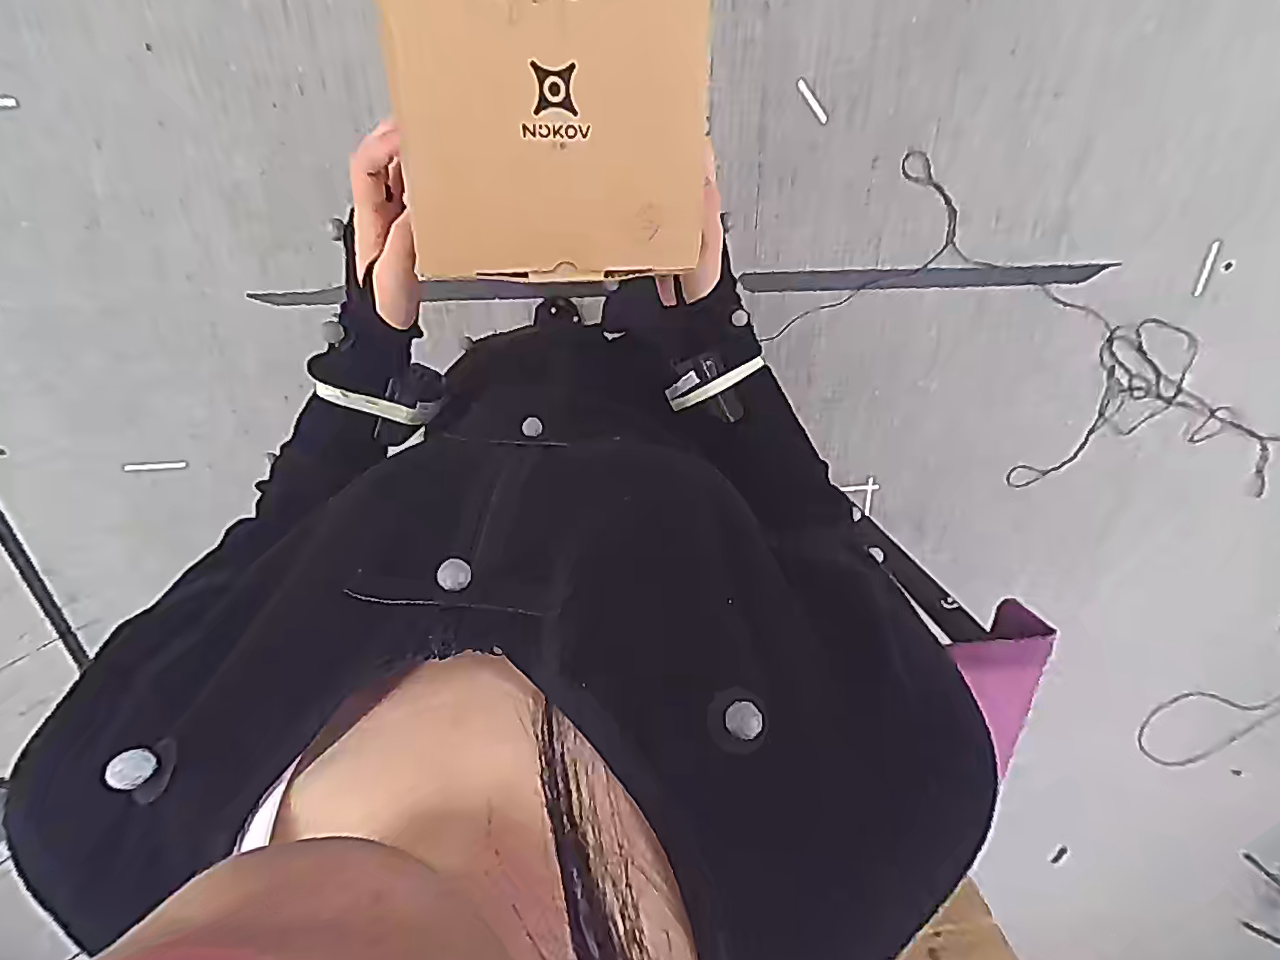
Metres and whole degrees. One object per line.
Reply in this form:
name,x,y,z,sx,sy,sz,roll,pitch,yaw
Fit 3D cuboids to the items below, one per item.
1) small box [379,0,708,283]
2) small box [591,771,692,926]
small box,-0.059,-0.232,0.358,0.168,0.176,0.179,-6,114,-10
small box,-0.002,0.655,0.980,0.168,0.176,0.179,-4,115,-4
